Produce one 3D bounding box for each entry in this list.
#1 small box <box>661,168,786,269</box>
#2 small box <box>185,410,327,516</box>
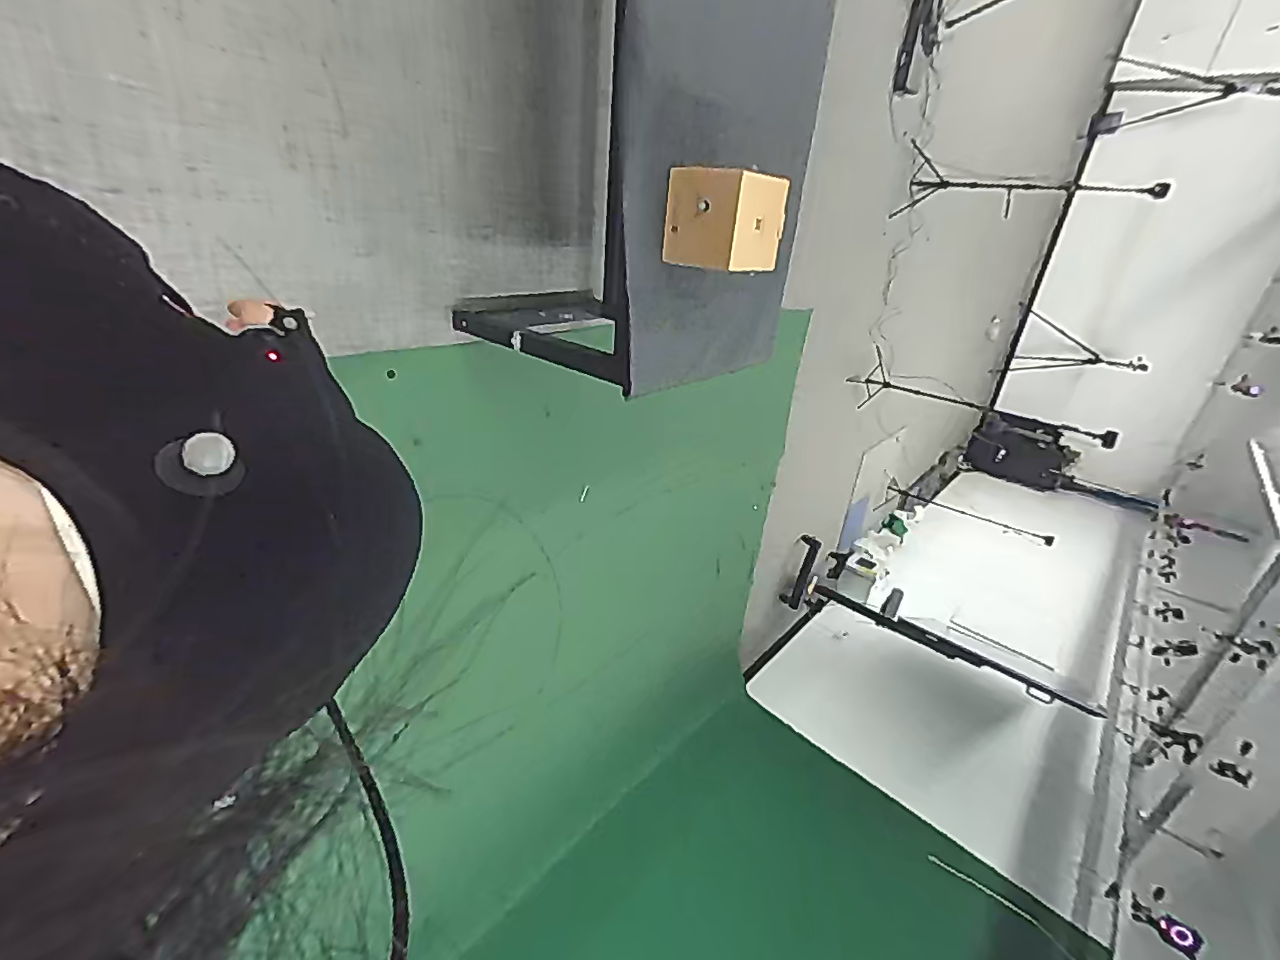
[{"bbox_3d":[0.159,-0.509,1.062,0.179,0.176,0.168,-24,128,-44],"label":"small box"},{"bbox_3d":[-0.798,-0.023,1.119,0.168,0.176,0.179,33,85,-53],"label":"small box"}]
